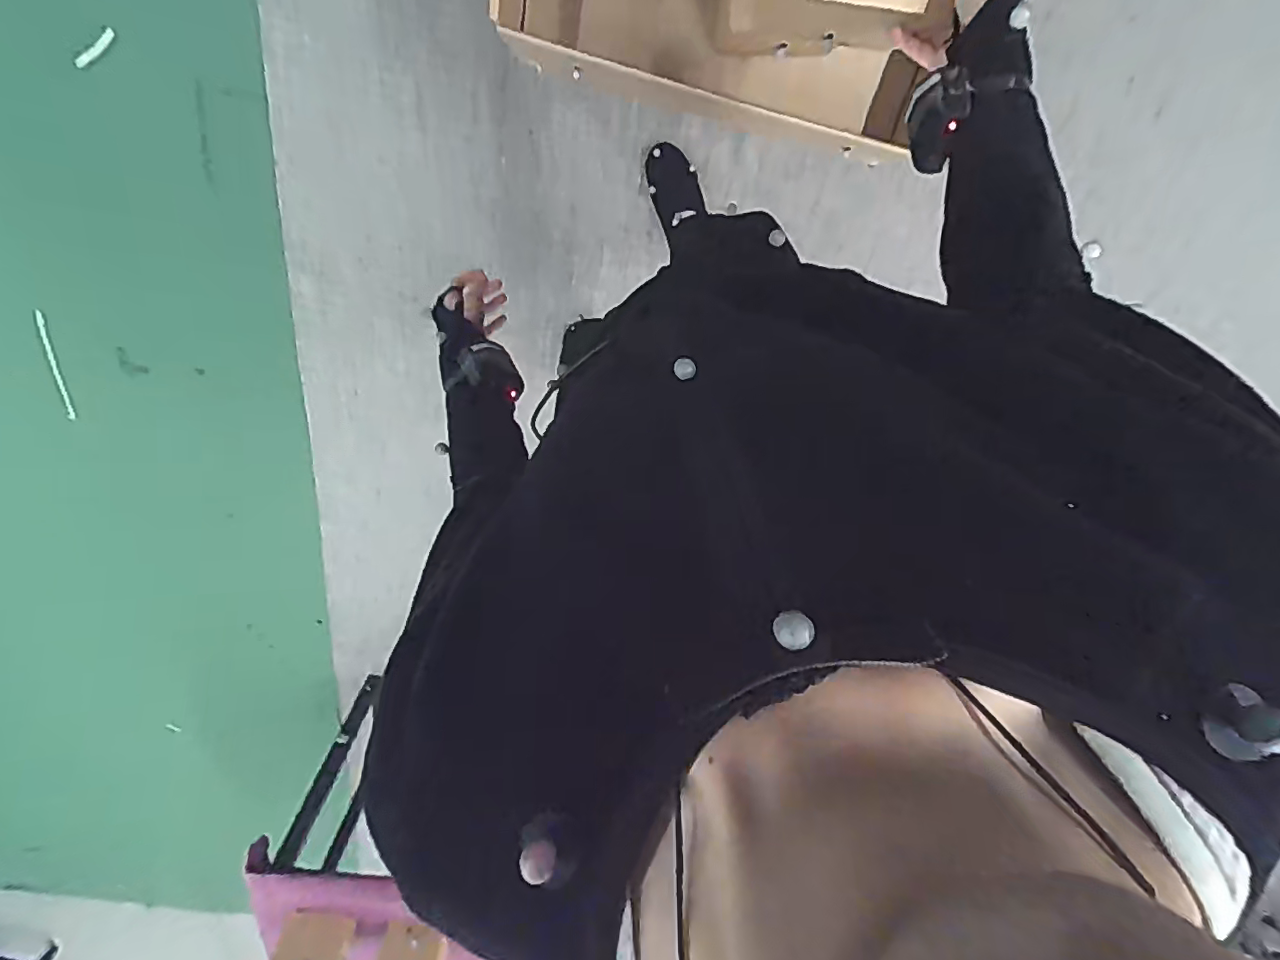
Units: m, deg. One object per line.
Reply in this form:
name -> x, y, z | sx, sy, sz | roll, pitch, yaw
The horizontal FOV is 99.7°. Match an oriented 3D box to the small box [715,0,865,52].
small box -> 0.190, -0.664, 0.685 | 0.168, 0.176, 0.179 | 1, 121, -1

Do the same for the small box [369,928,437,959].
small box -> -0.680, 1.409, 1.527 | 0.168, 0.176, 0.179 | 8, 119, -6

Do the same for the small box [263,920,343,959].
small box -> -0.940, 1.345, 1.486 | 0.179, 0.176, 0.168 | 14, 120, -9
